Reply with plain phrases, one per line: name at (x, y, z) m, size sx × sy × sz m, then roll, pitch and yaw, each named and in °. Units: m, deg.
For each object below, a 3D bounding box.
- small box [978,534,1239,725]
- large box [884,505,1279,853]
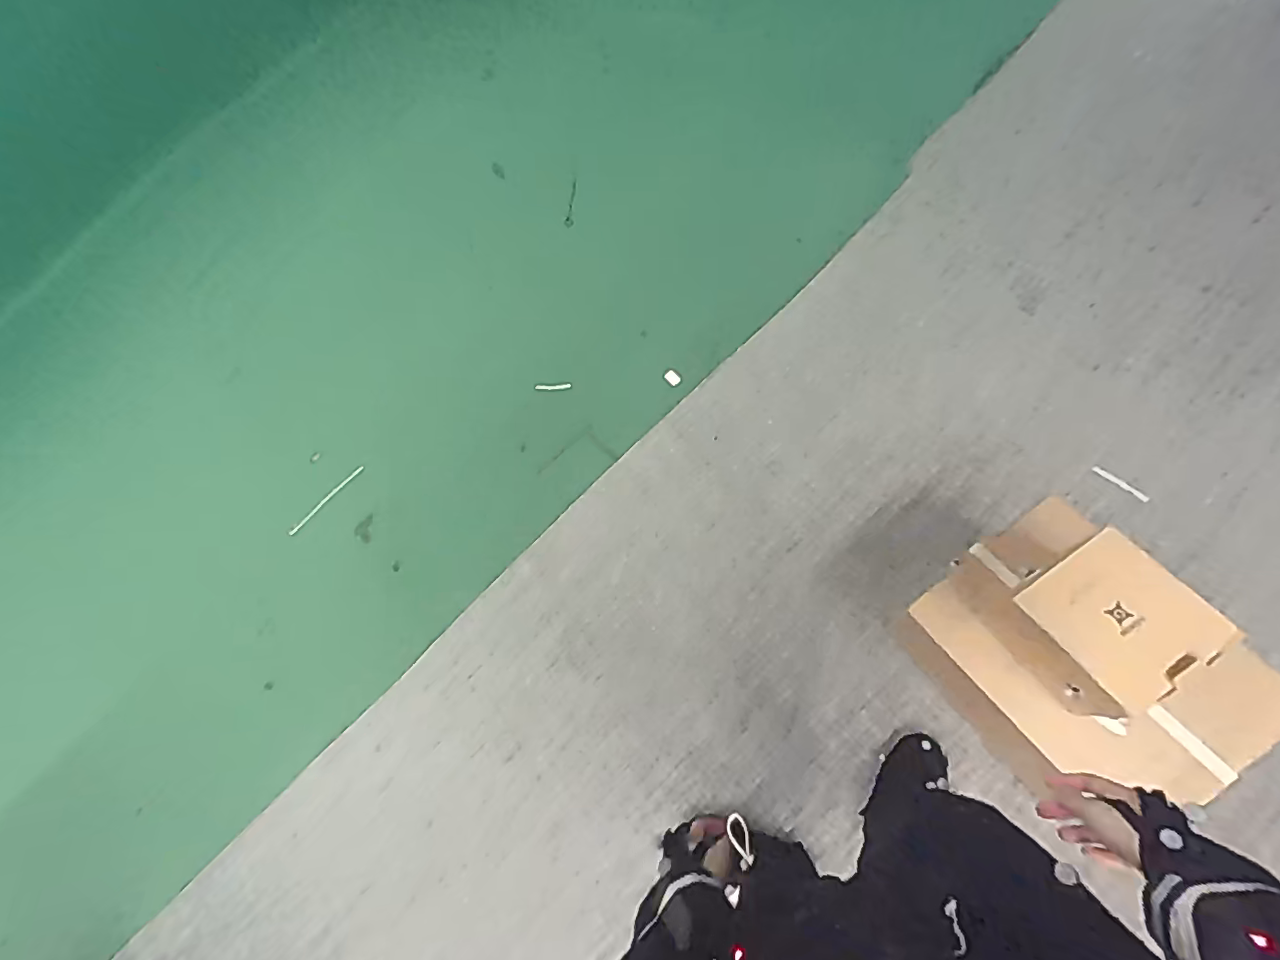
small box at (0.613, 0.206, 0.740) m, size 0.168 × 0.176 × 0.179 m, roll -37°, pitch 62°, yaw -2°
large box at (0.708, 0.318, 0.938) m, size 0.320 × 0.320 × 0.408 m, roll -39°, pitch 64°, yaw 0°
